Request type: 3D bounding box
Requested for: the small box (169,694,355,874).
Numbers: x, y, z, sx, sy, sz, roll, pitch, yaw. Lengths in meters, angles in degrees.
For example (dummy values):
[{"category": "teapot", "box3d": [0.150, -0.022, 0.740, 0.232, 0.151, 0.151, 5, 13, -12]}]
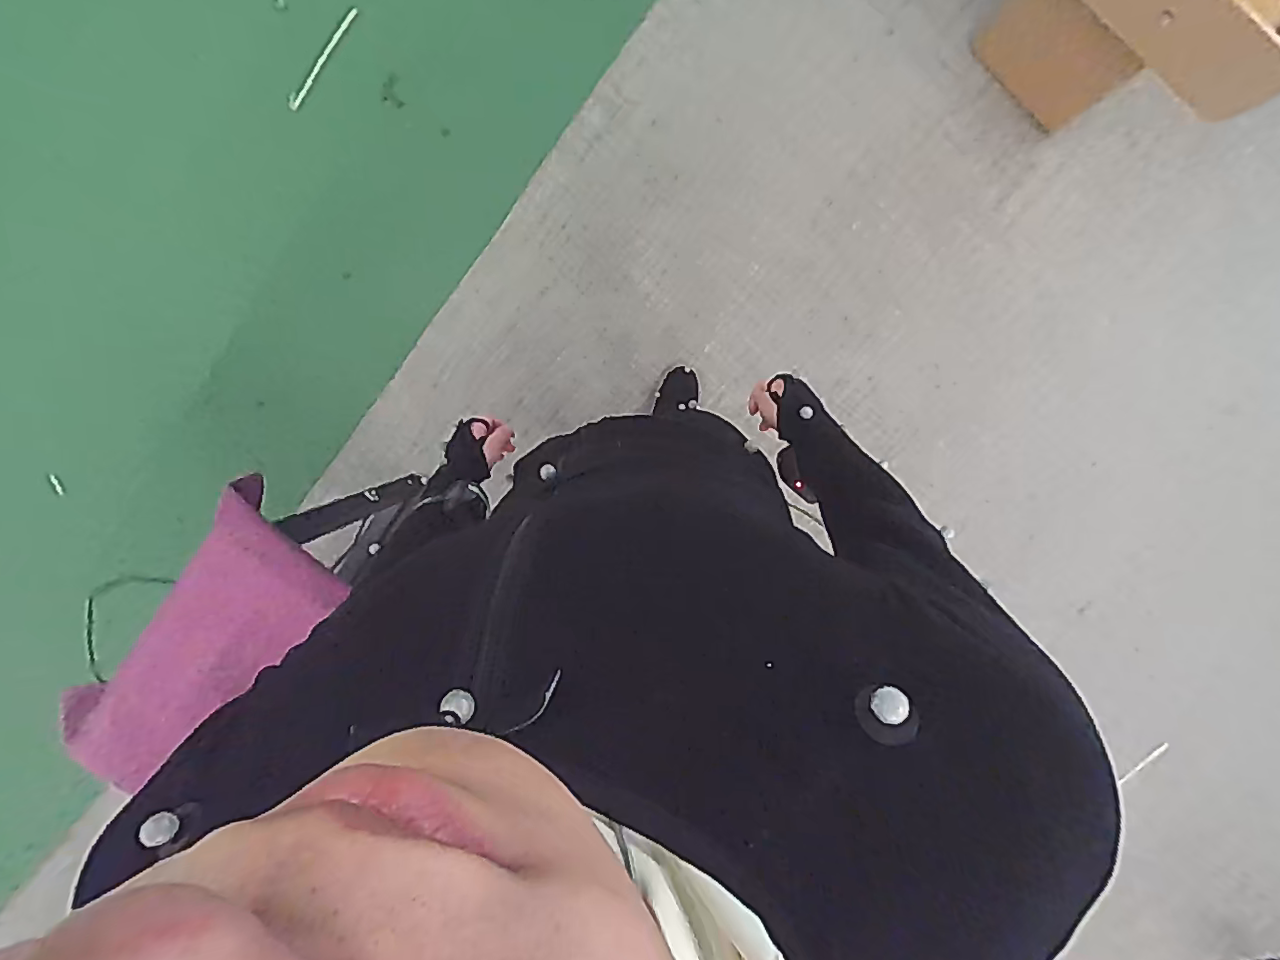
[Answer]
[{"category": "small box", "box3d": [-0.647, 0.522, 0.949, 0.168, 0.176, 0.179, 41, 100, -4]}]
